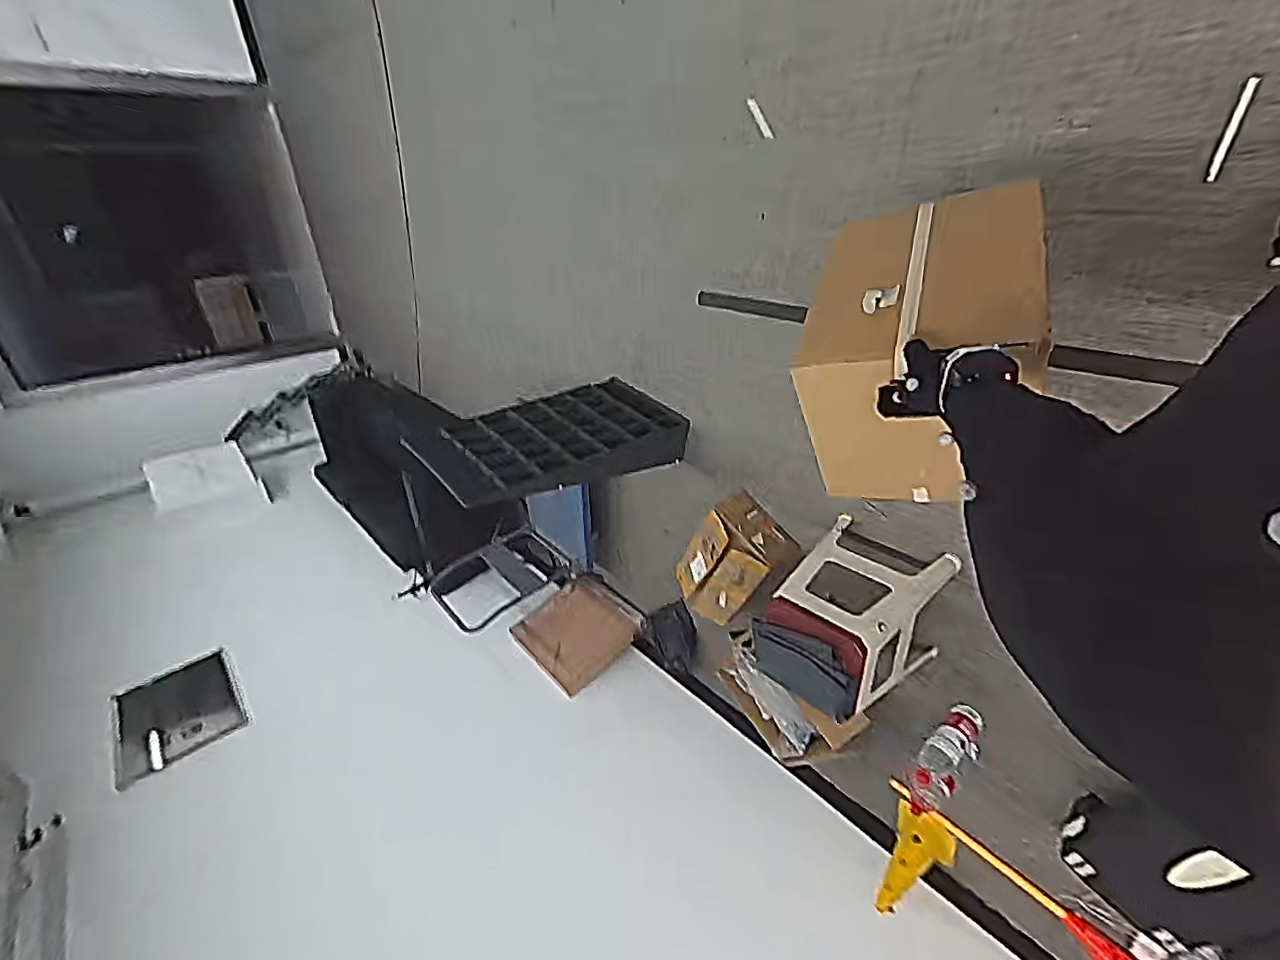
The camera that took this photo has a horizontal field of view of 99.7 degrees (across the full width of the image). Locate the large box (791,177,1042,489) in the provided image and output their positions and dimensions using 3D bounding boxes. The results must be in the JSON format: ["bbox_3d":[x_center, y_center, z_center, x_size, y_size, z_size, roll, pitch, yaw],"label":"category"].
[{"bbox_3d":[0.483,-0.239,0.933,0.320,0.408,0.320,3,144,34],"label":"large box"}]
